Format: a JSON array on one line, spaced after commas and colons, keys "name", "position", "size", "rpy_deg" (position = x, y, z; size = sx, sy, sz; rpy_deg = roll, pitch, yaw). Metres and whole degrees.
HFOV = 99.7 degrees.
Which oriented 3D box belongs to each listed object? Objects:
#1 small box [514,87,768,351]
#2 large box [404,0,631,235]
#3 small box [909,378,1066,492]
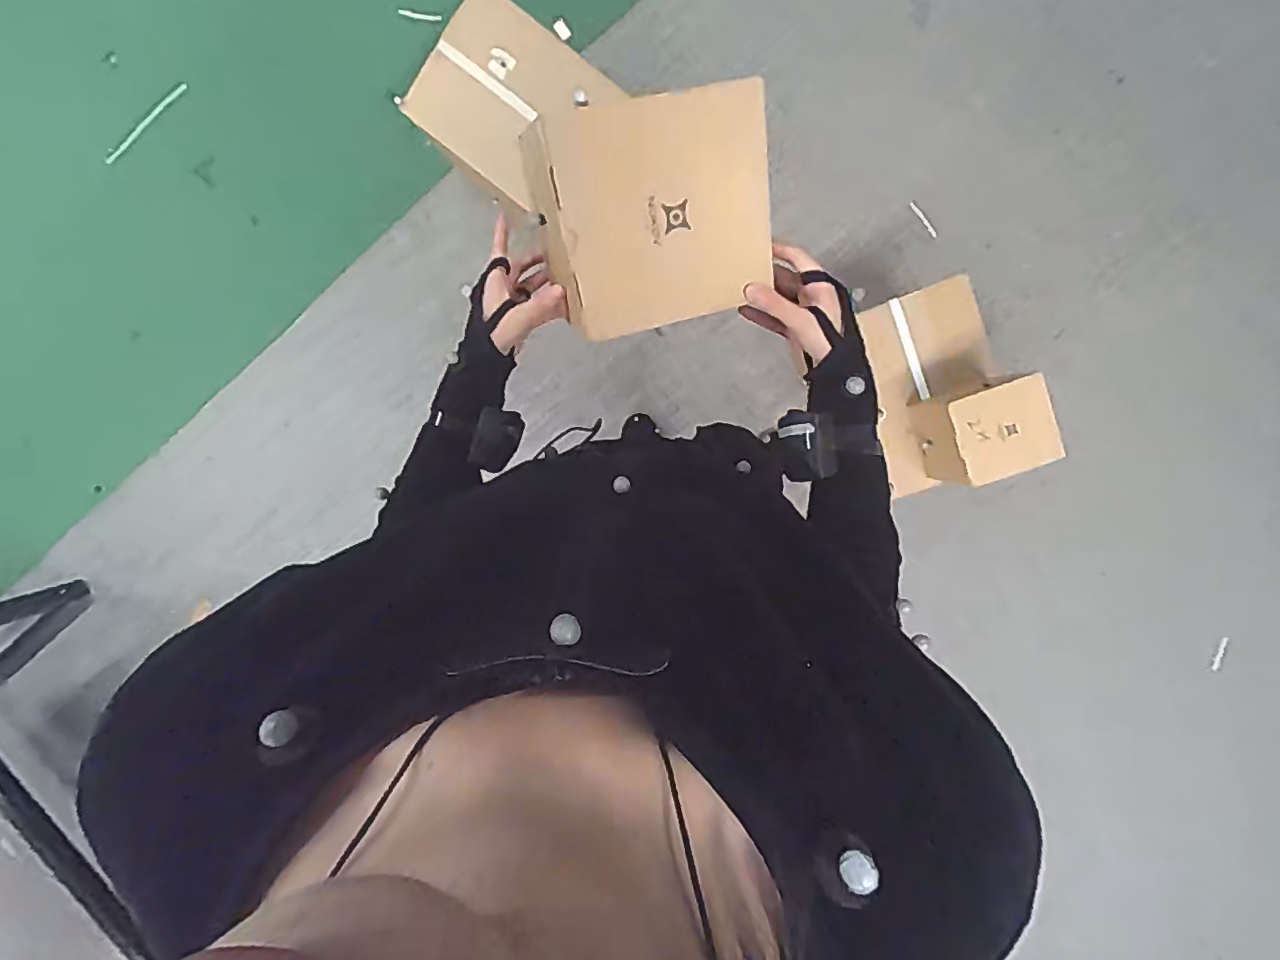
[{"name": "small box", "position": [-0.004, -0.237, 0.498], "size": [0.179, 0.176, 0.168], "rpy_deg": [-18, 120, -9]}, {"name": "large box", "position": [-0.246, -0.782, 1.283], "size": [0.408, 0.320, 0.320], "rpy_deg": [38, 97, 0]}, {"name": "small box", "position": [0.663, -0.089, 1.050], "size": [0.179, 0.176, 0.168], "rpy_deg": [-19, 95, 5]}]
